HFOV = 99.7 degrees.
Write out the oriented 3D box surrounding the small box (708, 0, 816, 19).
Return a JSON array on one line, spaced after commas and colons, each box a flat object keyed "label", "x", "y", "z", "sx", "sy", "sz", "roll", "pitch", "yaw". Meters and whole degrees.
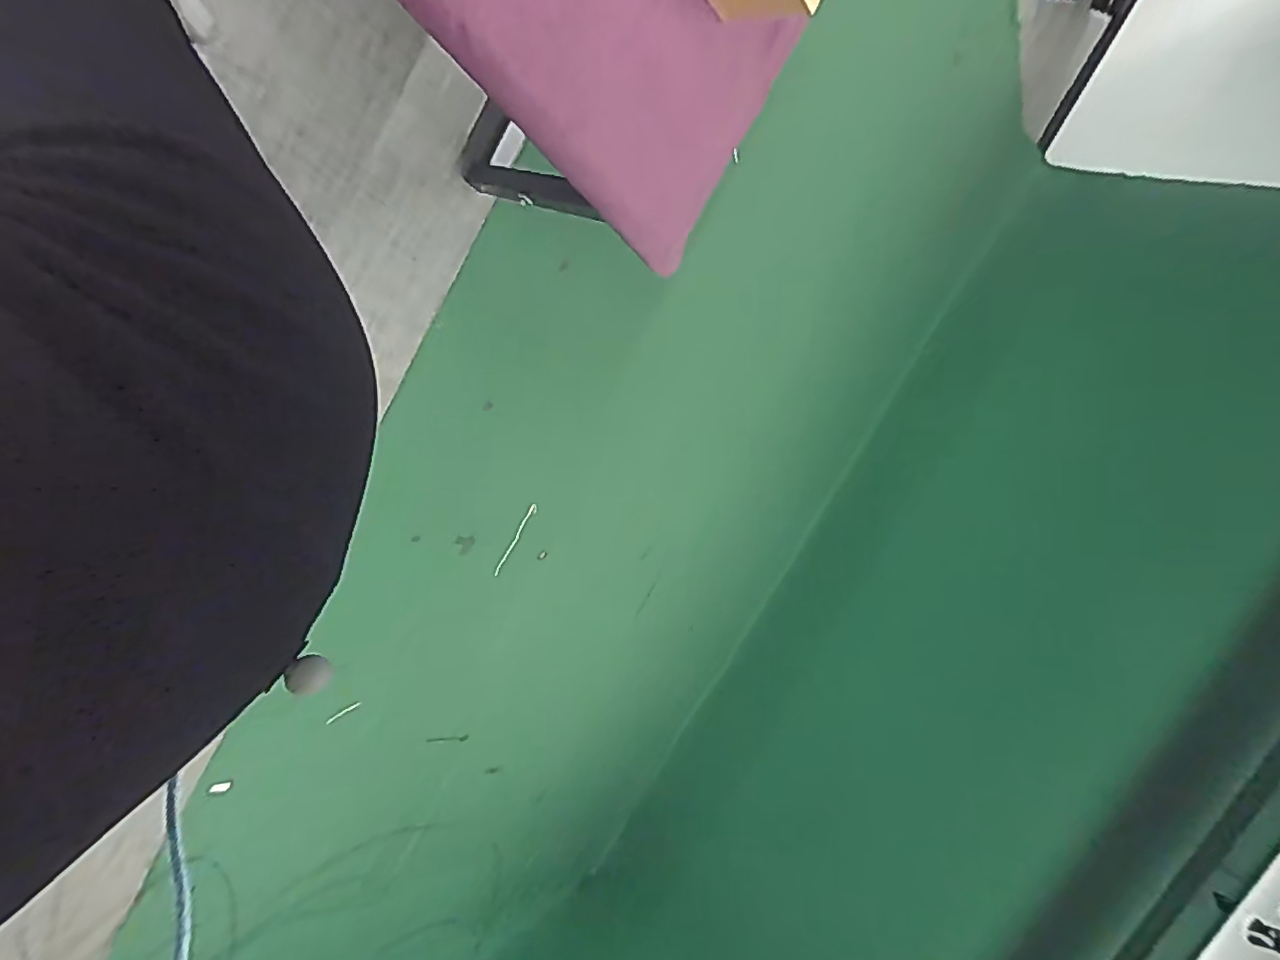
[{"label": "small box", "x": 0.160, "y": -0.753, "z": 0.707, "sx": 0.168, "sy": 0.176, "sz": 0.179, "roll": 9, "pitch": 109, "yaw": -50}]
